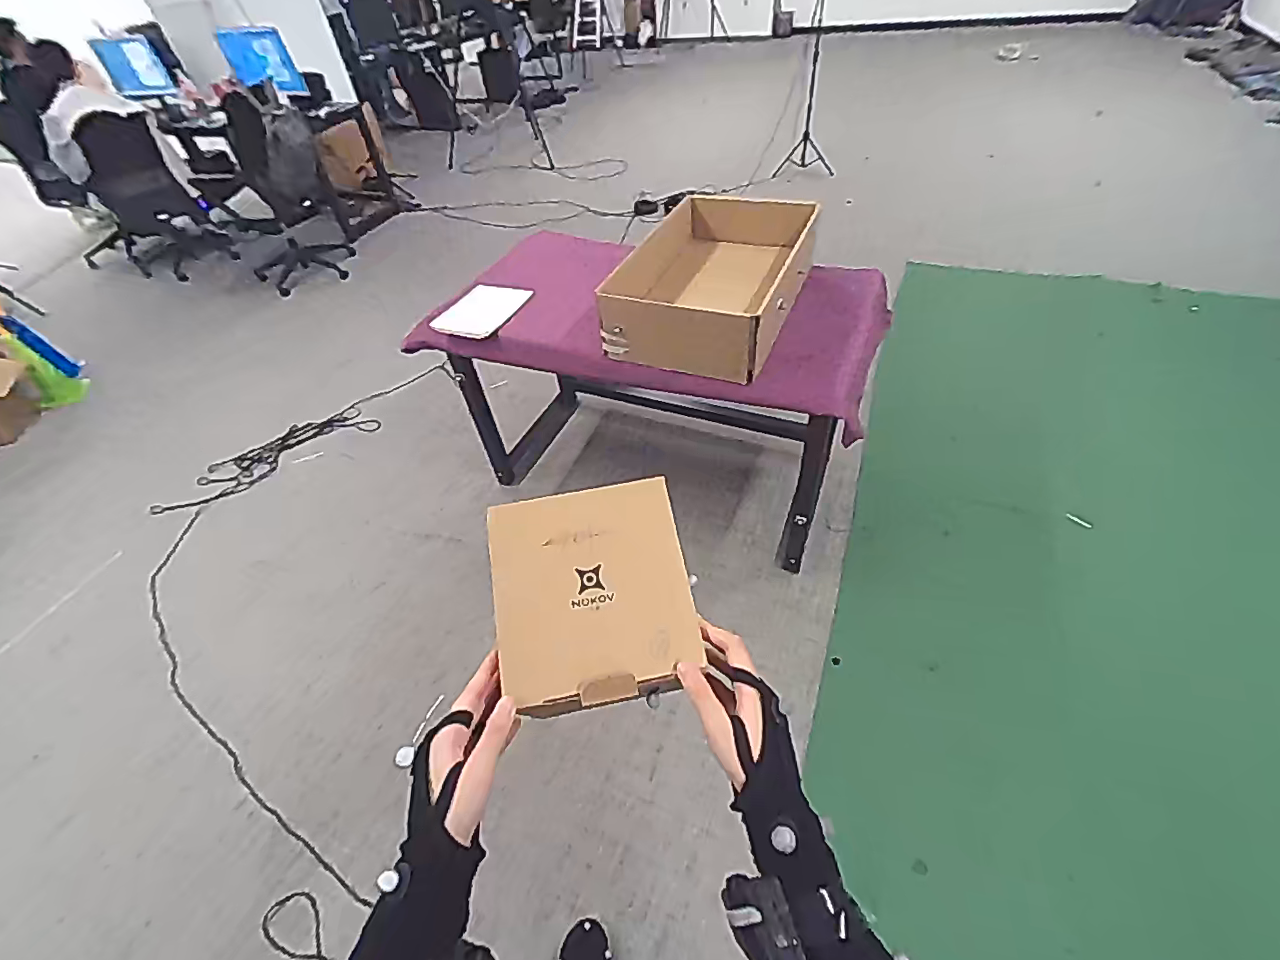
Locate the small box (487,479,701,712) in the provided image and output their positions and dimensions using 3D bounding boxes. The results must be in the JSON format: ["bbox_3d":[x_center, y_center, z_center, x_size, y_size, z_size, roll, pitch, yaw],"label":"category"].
[{"bbox_3d":[-0.044,0.121,0.530,0.168,0.176,0.179,-9,65,-5],"label":"small box"}]
